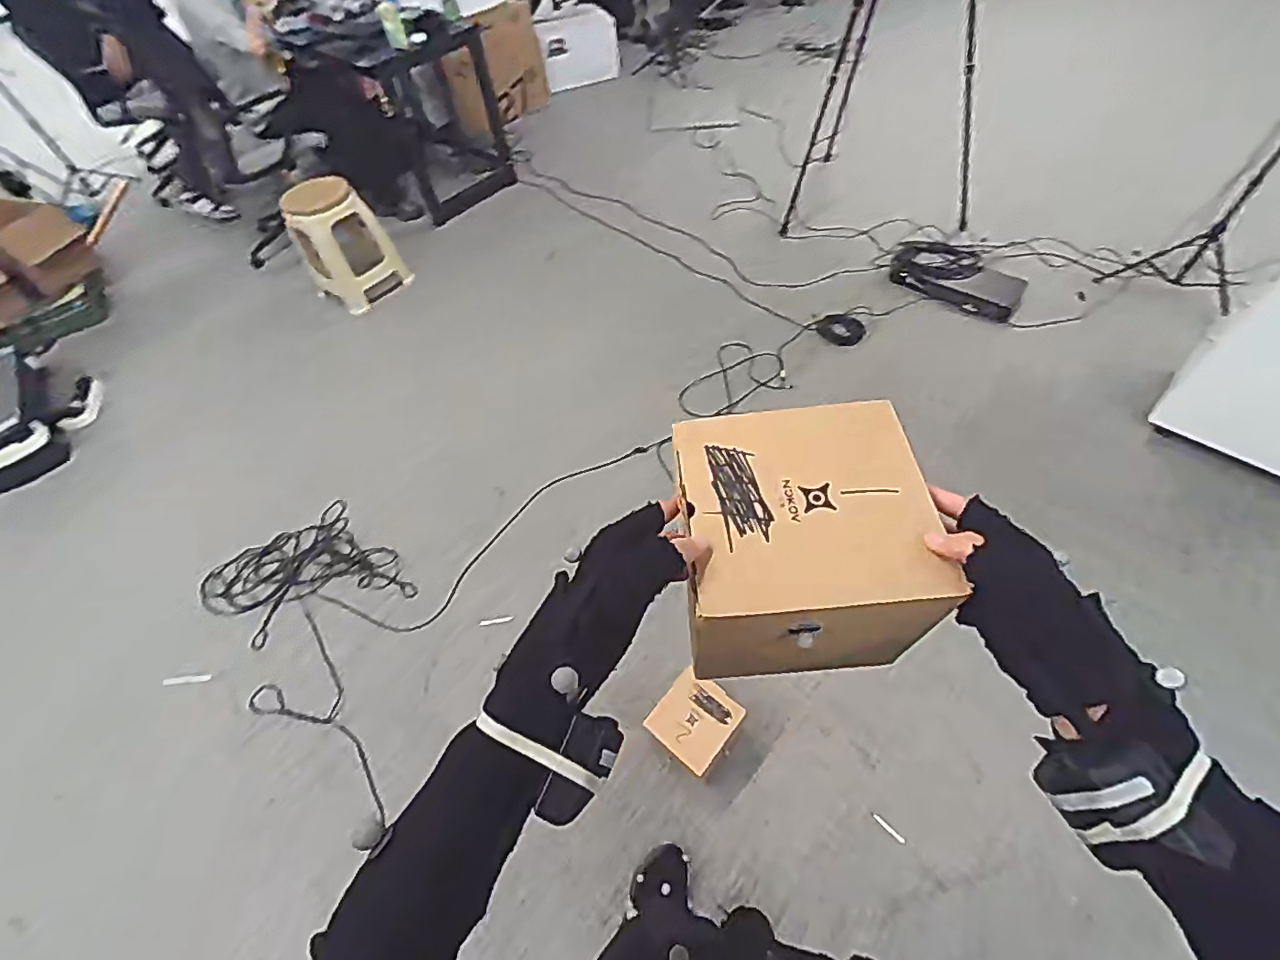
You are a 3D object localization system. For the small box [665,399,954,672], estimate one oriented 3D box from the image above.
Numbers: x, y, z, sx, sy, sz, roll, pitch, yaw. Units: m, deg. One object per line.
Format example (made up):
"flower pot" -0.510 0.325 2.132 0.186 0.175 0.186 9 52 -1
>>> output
"small box" 0.119 0.055 0.459 0.179 0.176 0.168 -6 56 1
